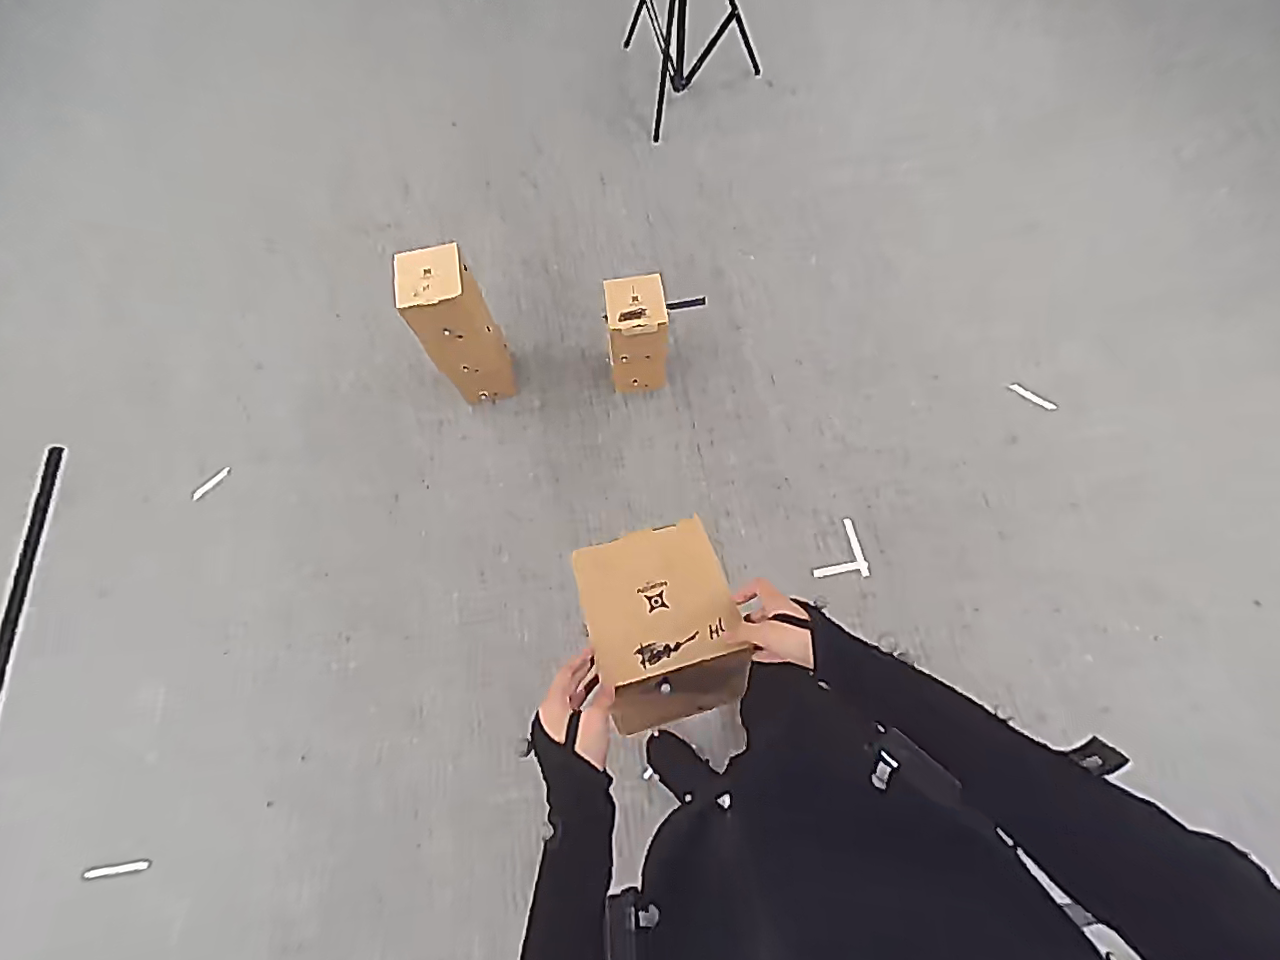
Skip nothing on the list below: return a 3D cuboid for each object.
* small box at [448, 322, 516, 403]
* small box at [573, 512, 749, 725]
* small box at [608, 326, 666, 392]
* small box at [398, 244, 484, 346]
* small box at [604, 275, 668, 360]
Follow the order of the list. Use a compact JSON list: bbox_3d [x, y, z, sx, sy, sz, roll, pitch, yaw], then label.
[{"bbox_3d":[-0.505,-0.373,1.736,0.168,0.176,0.179,-11,69,-1],"label":"small box"},{"bbox_3d":[0.021,0.172,0.669,0.168,0.176,0.179,-14,49,-6],"label":"small box"},{"bbox_3d":[-0.012,-0.404,1.732,0.168,0.176,0.179,-7,69,-1],"label":"small box"},{"bbox_3d":[-0.522,-0.485,1.428,0.168,0.176,0.179,-11,70,-1],"label":"small box"},{"bbox_3d":[-0.010,-0.465,1.579,0.168,0.176,0.179,-7,69,-2],"label":"small box"}]
